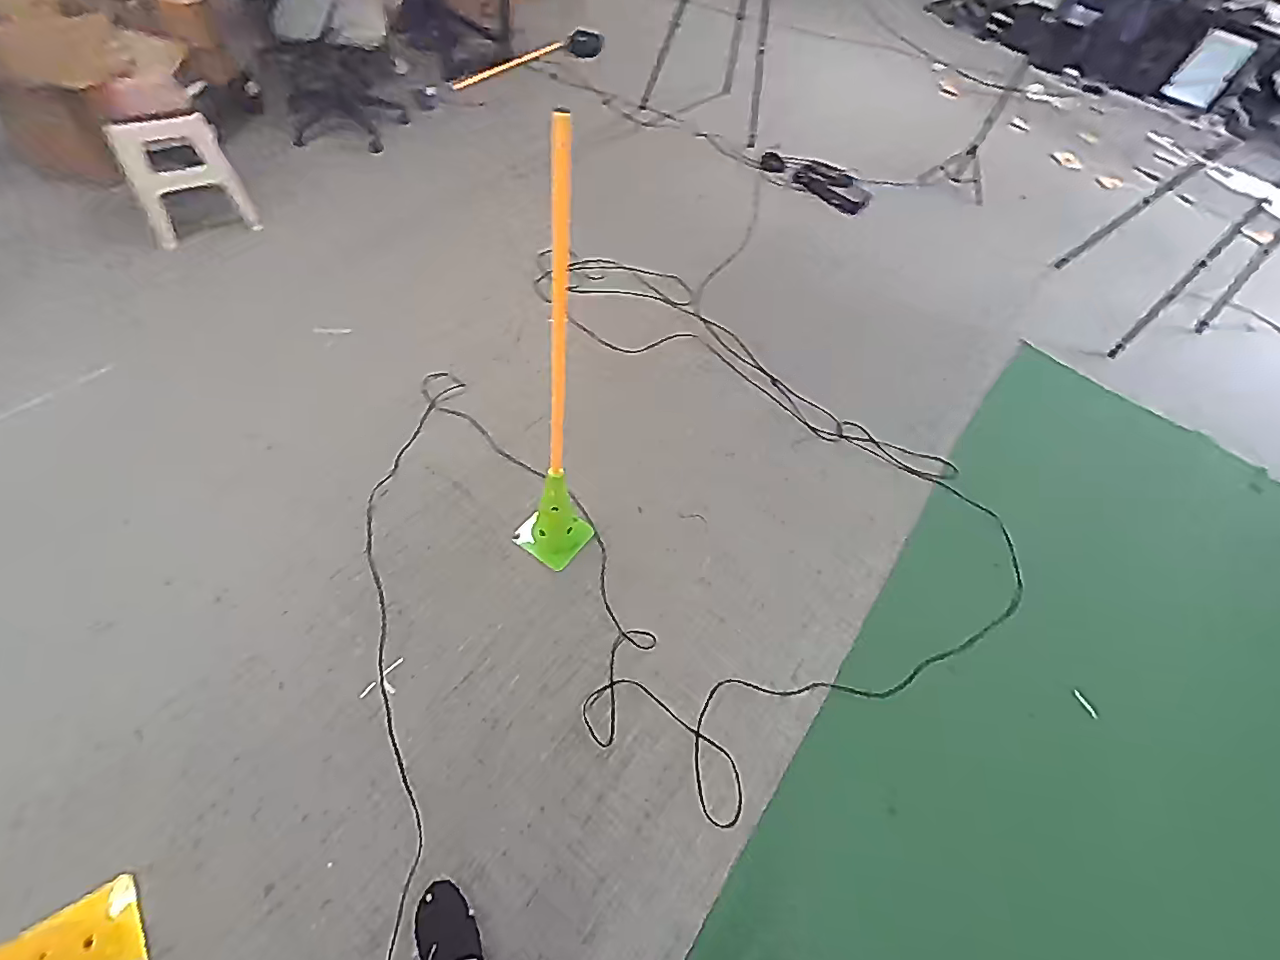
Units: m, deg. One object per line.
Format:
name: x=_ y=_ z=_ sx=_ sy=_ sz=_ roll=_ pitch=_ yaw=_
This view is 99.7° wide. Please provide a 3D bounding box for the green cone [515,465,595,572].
green cone: x=-0.245 y=0.083 z=1.613 sx=0.200 sy=0.368 sz=0.202 roll=33 pitch=55 yaw=13
